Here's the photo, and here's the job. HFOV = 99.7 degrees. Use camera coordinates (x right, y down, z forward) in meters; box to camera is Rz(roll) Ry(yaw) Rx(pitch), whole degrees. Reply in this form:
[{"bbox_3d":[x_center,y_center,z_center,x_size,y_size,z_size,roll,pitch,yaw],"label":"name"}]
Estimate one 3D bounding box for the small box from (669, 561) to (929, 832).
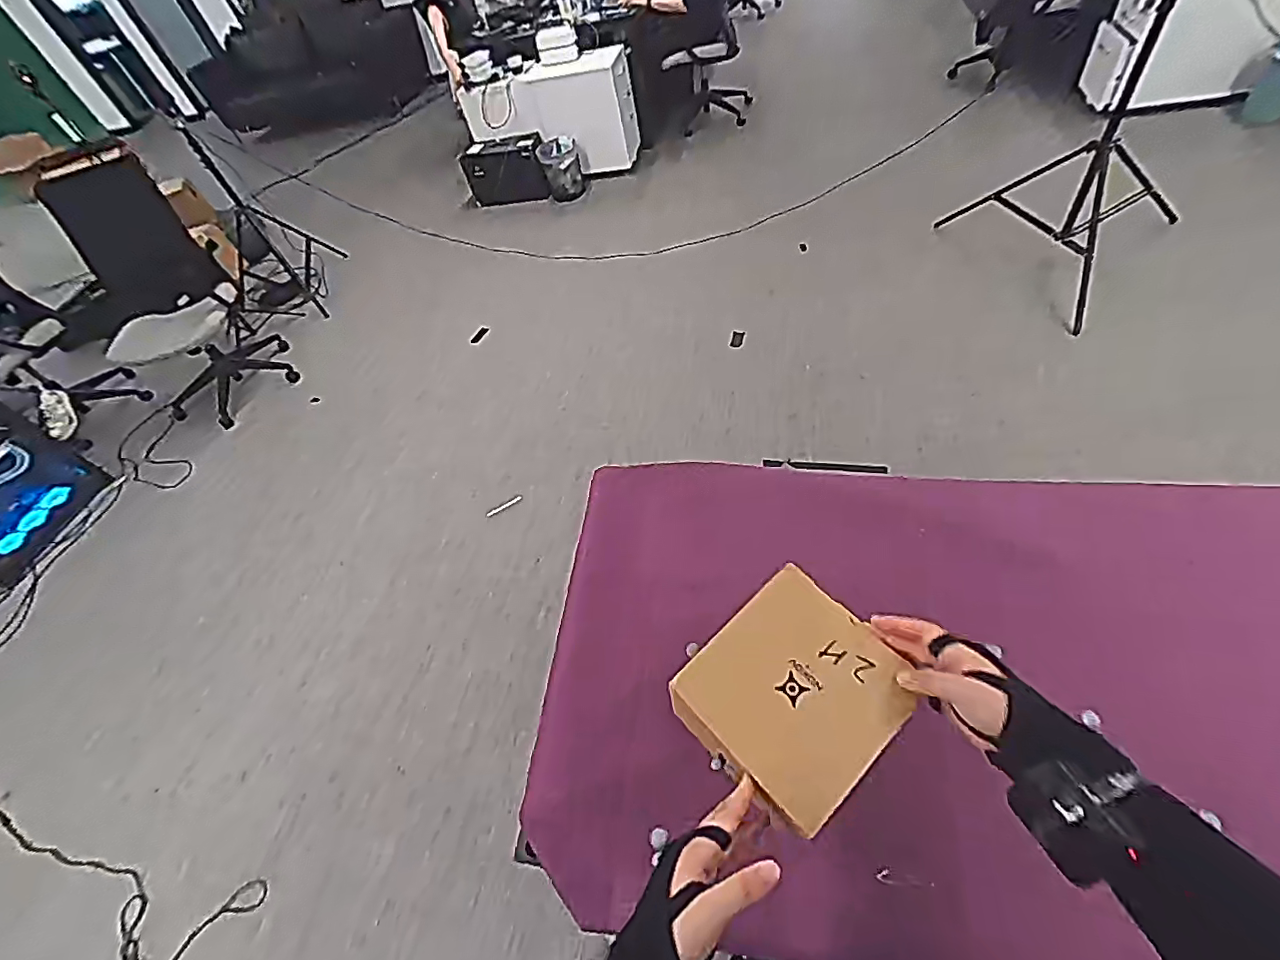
[{"bbox_3d":[0.150,0.223,0.556,0.179,0.176,0.168,-41,65,-19],"label":"small box"}]
